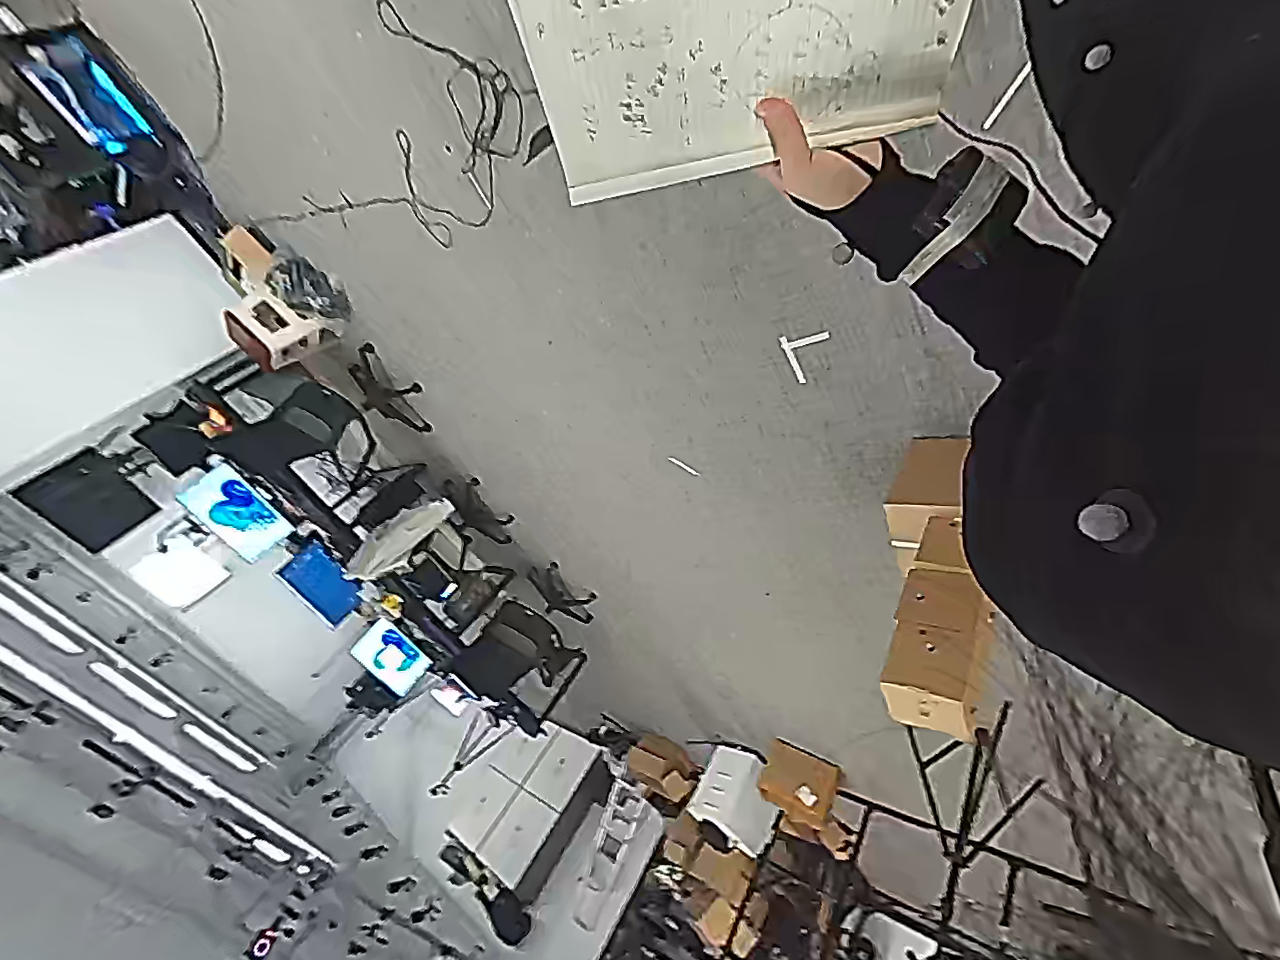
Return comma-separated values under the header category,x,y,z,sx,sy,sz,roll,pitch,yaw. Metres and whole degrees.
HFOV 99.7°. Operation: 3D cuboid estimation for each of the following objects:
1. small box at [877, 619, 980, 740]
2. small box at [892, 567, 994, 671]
category,x,y,z,sx,sy,sz,roll,pitch,yaw
small box,0.665,0.449,1.237,0.168,0.176,0.179,3,133,42
small box,0.744,0.331,1.322,0.179,0.176,0.168,0,132,43
